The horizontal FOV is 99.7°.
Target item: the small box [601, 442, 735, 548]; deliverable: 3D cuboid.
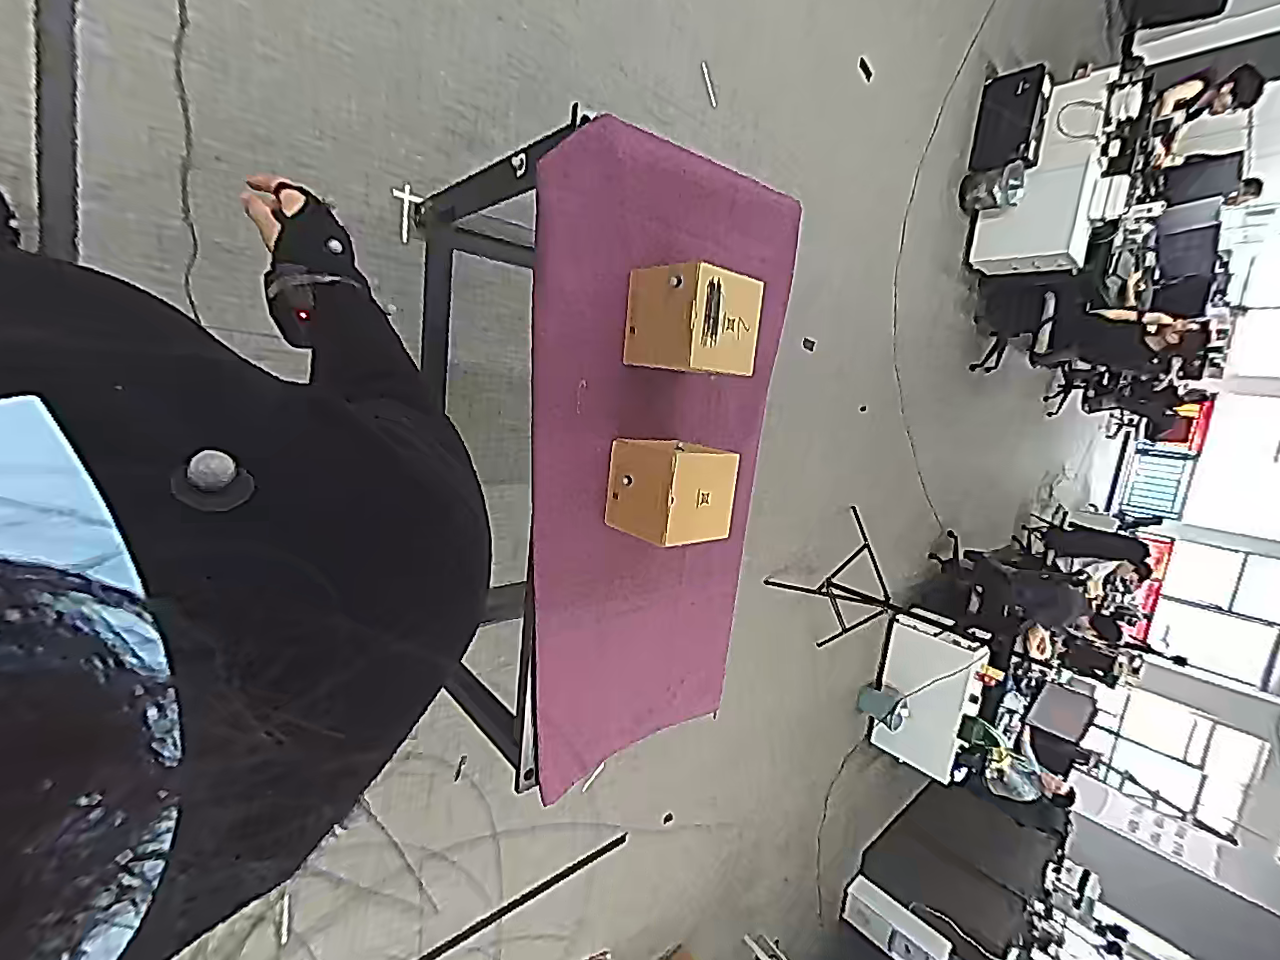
[{"bbox_3d":[0.052,0.020,1.026,0.179,0.176,0.168,-2,103,-42],"label":"small box"}]
